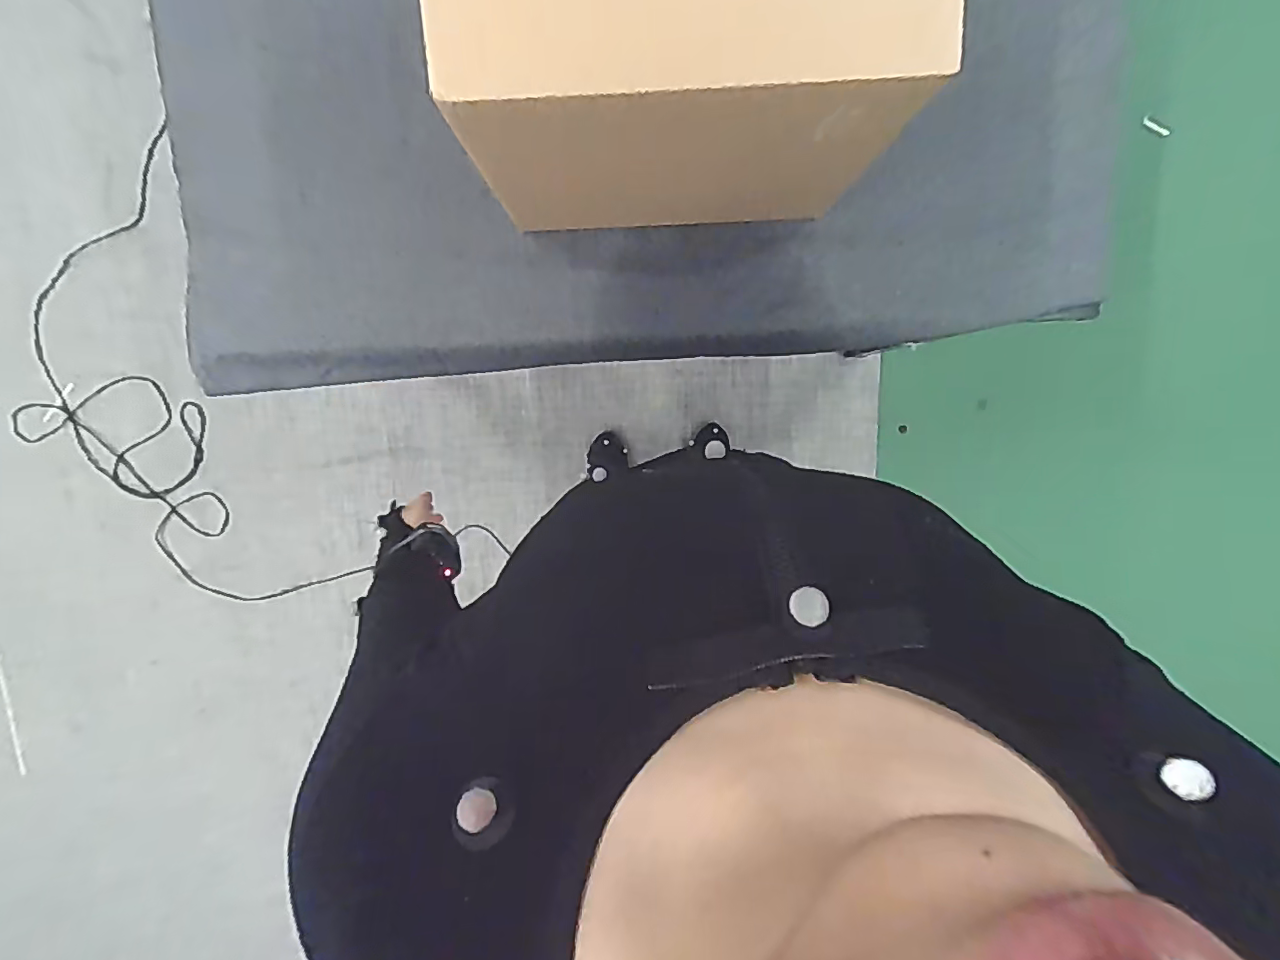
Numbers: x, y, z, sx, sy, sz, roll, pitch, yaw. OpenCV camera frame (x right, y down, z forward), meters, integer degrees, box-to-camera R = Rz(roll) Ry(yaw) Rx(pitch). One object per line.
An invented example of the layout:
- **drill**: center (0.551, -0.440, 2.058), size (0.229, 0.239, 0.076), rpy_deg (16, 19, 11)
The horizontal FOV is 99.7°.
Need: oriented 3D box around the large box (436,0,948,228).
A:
- **large box**: center (0.031, -0.479, 0.553), size (0.408, 0.320, 0.320), rpy_deg (-3, 98, 0)
